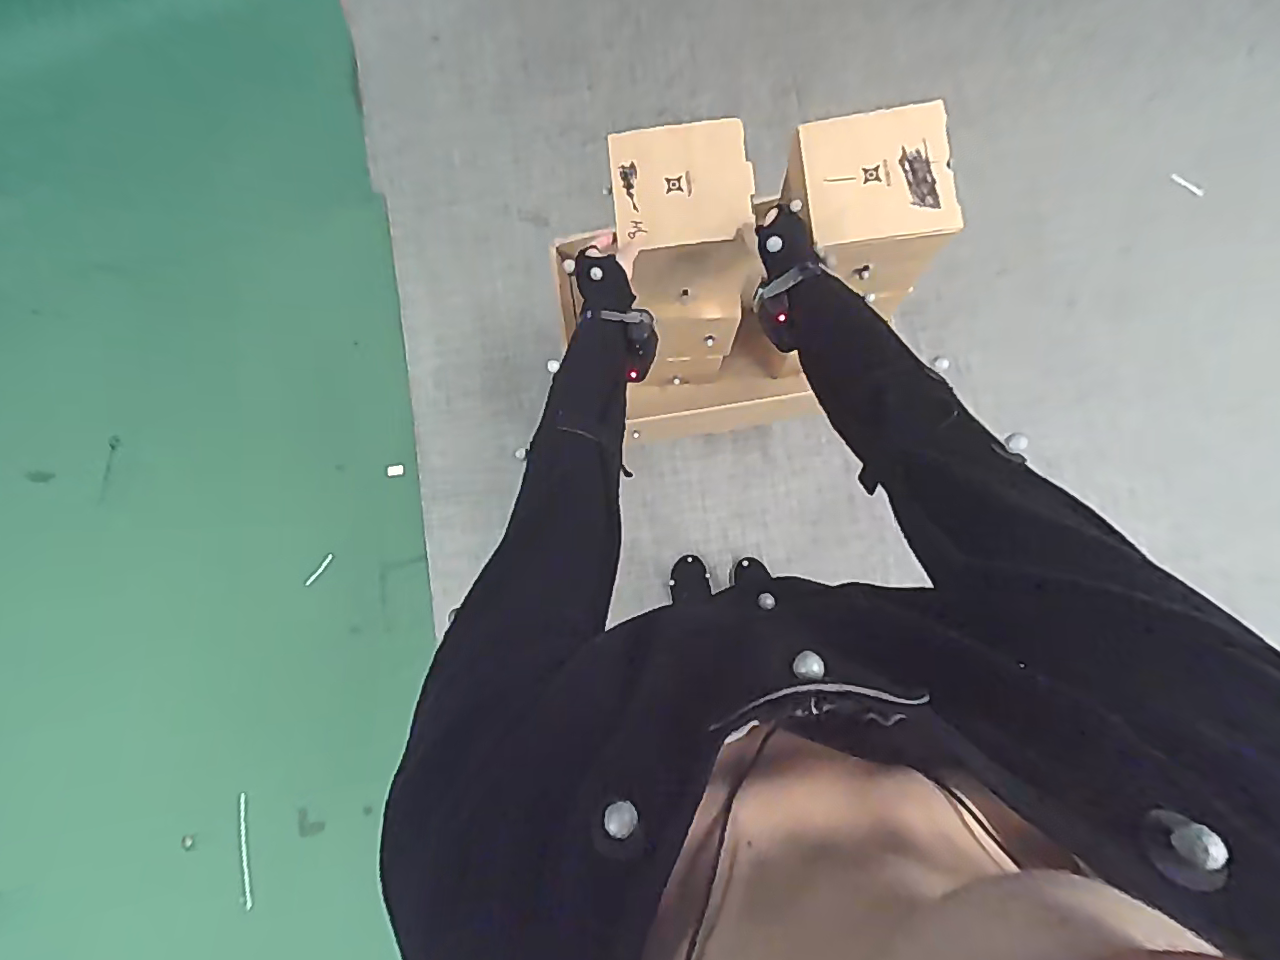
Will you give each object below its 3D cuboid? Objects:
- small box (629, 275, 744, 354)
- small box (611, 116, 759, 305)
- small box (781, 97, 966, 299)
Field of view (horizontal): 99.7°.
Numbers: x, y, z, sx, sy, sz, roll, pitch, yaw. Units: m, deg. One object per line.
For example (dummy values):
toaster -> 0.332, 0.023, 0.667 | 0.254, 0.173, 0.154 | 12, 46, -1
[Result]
small box -> 0.072, -0.320, 0.910 | 0.179, 0.176, 0.168 | -2, 82, 3
small box -> 0.056, -0.362, 0.752 | 0.179, 0.176, 0.168 | -5, 82, 1
small box -> 0.296, -0.361, 0.723 | 0.179, 0.176, 0.168 | -6, 84, 7
